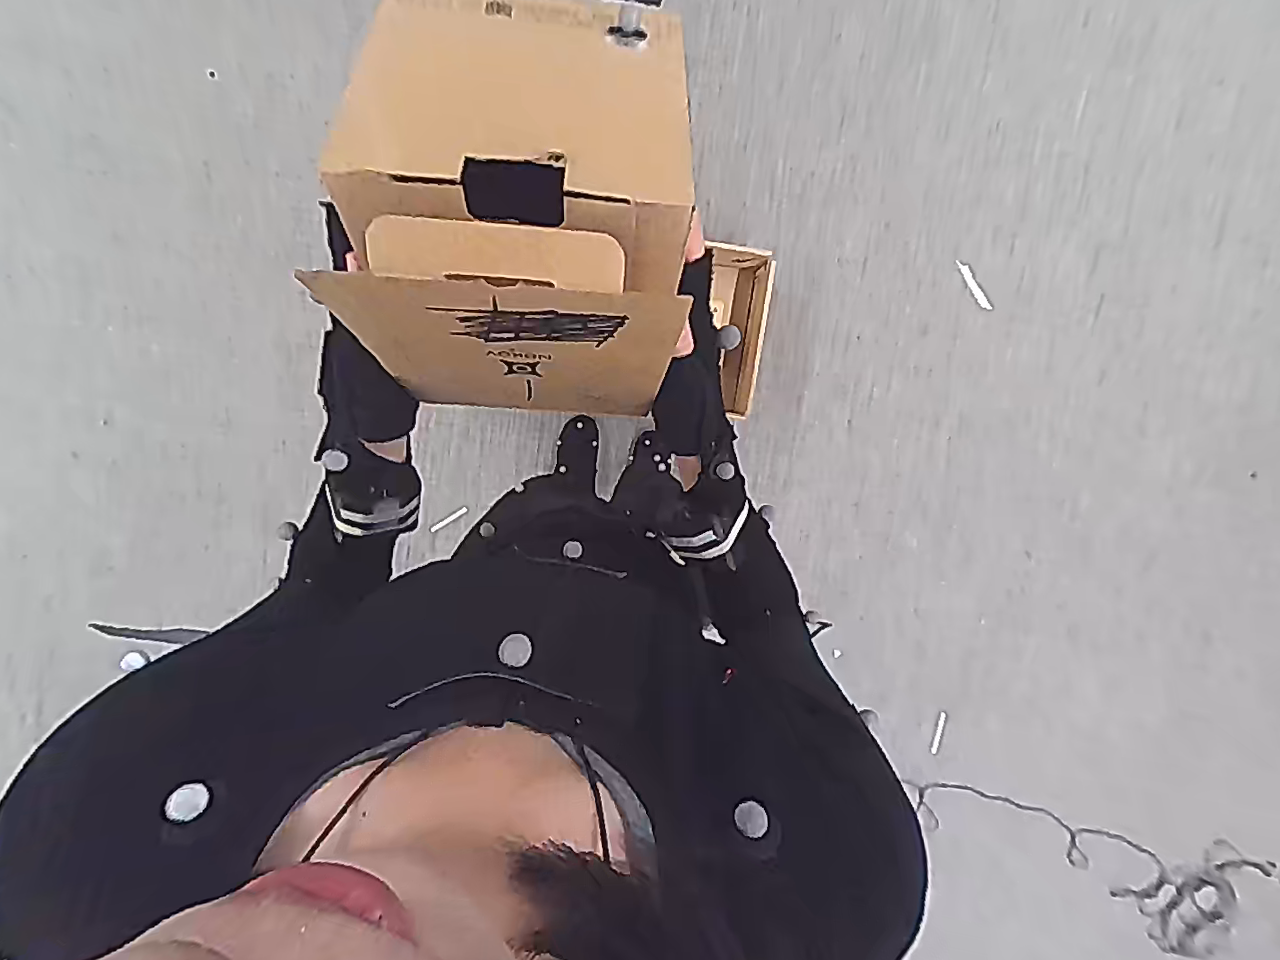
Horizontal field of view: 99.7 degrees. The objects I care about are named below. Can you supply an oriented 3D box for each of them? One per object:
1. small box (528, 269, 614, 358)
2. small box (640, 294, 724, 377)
[{"bbox_3d":[-0.165,-0.399,1.327,0.179,0.176,0.168,10,97,-4],"label":"small box"},{"bbox_3d":[0.098,-0.351,1.347,0.179,0.176,0.168,9,98,-2],"label":"small box"}]
